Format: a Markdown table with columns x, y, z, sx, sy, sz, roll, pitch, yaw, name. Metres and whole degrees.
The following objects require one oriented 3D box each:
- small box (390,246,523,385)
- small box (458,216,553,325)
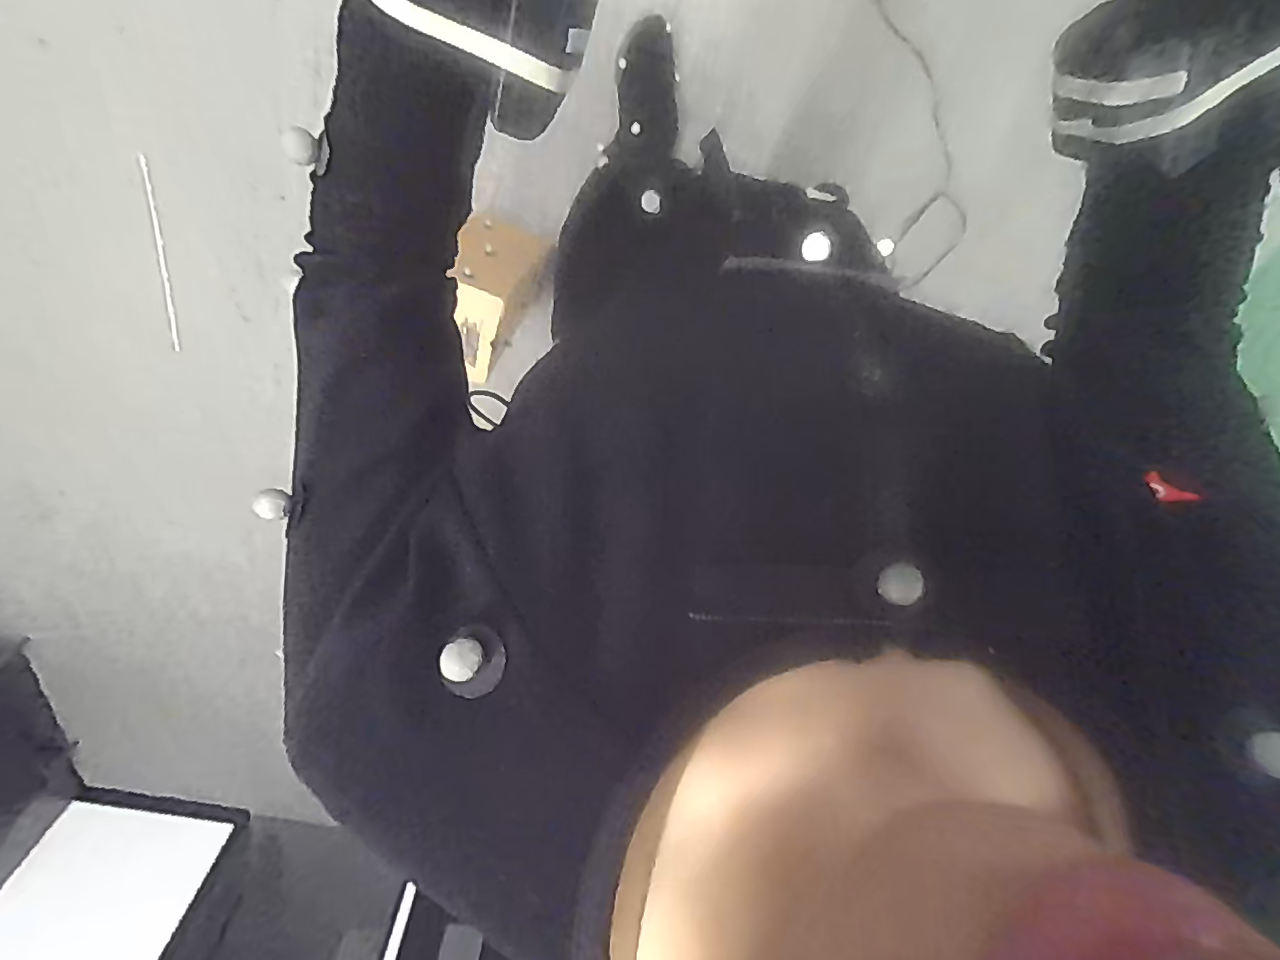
| x | y | z | sx | sy | sz | roll | pitch | yaw | name |
| --- | --- | --- | --- | --- | --- | --- | --- | --- | --- |
| -0.325 | -0.304 | 0.983 | 0.179 | 0.176 | 0.168 | 19 | 122 | -11 | small box |
| -0.317 | -0.490 | 1.251 | 0.179 | 0.176 | 0.168 | 20 | 123 | -12 | small box |
